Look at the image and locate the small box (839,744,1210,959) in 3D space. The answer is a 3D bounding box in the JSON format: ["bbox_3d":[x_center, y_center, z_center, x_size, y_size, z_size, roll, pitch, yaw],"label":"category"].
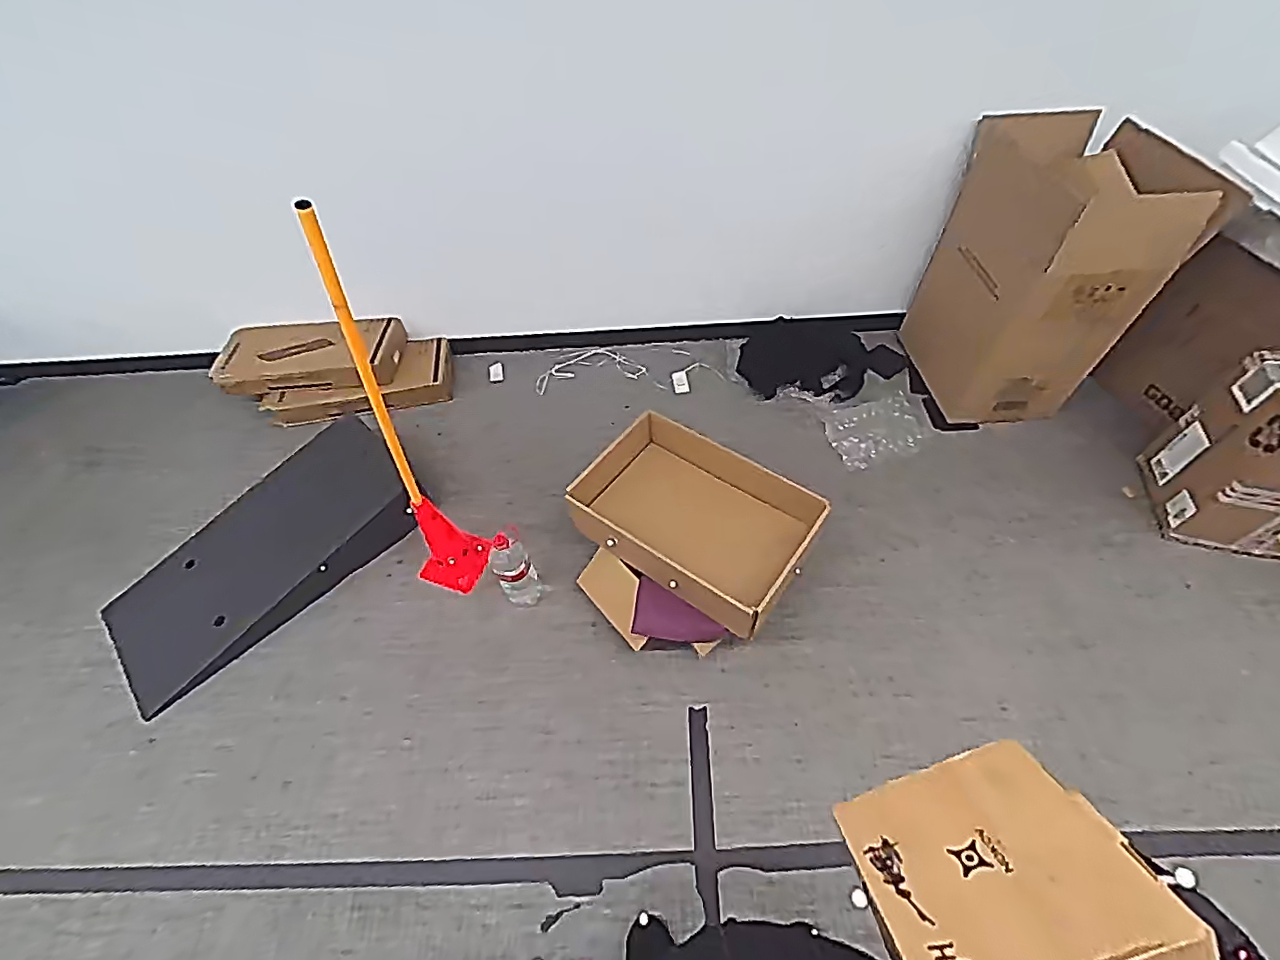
[{"bbox_3d":[0.293,0.360,0.431,0.179,0.176,0.168,-23,13,3],"label":"small box"}]
